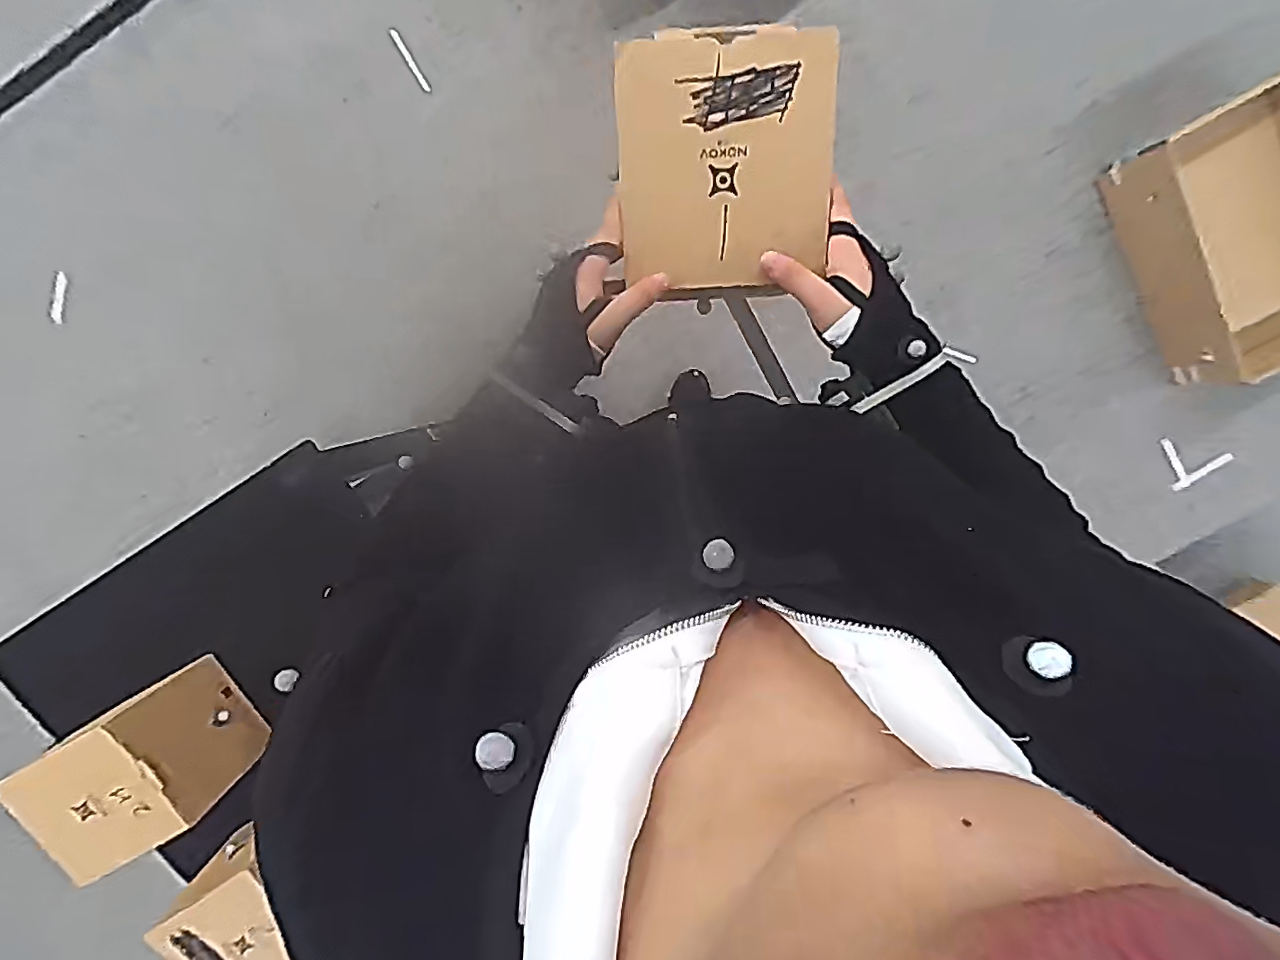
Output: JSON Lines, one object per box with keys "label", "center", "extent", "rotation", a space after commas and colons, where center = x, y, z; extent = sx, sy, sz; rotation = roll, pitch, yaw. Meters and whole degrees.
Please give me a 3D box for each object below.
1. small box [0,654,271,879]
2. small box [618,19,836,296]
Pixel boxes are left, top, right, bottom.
{"label": "small box", "center": [-0.661, 0.373, 0.732], "extent": [0.179, 0.176, 0.168], "rotation": [-30, 100, 5]}
{"label": "small box", "center": [0.068, -0.270, 0.495], "extent": [0.168, 0.176, 0.179], "rotation": [-2, 105, 3]}
